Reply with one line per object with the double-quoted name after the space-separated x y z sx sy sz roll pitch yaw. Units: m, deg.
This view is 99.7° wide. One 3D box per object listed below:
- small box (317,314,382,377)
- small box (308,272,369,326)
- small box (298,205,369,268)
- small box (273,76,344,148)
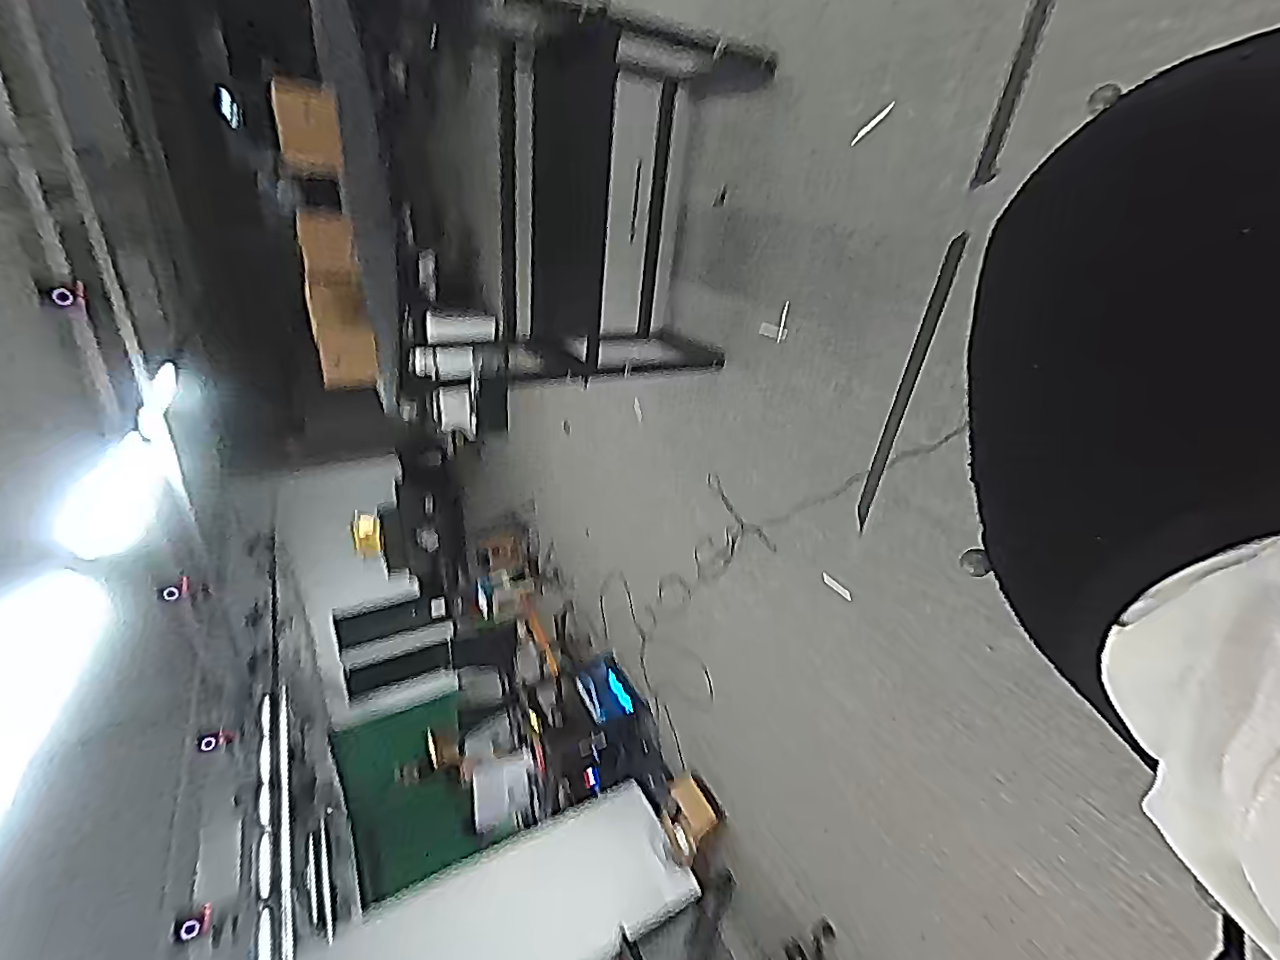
-0.973 -0.454 1.816 0.168 0.176 0.179 39 131 51 "small box"
-1.108 -0.659 1.990 0.168 0.176 0.179 39 131 49 "small box"
-0.939 -0.748 1.664 0.179 0.176 0.168 38 132 51 "small box"
-1.056 -1.172 1.730 0.179 0.176 0.168 41 133 48 "small box"
